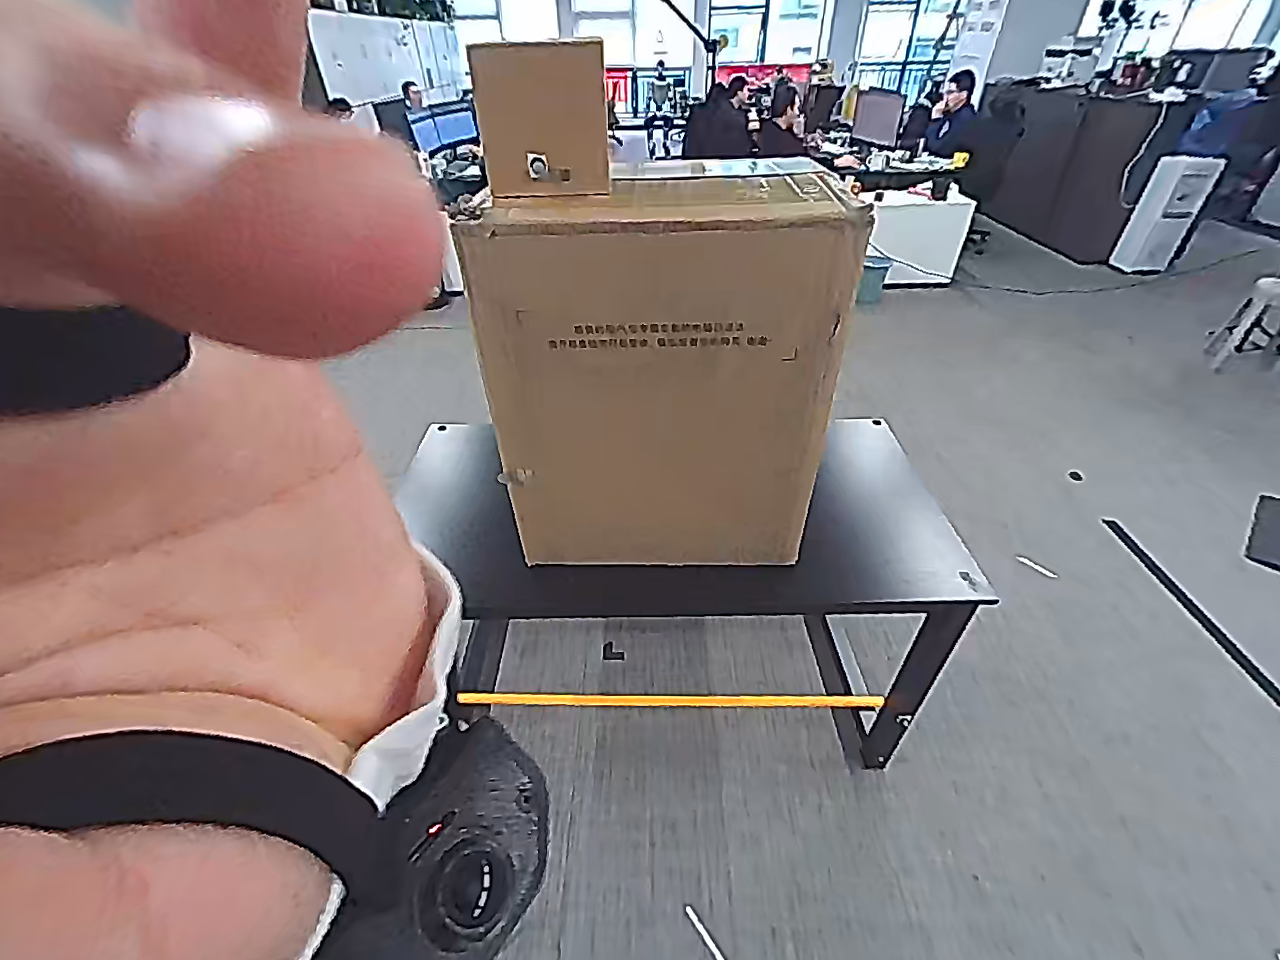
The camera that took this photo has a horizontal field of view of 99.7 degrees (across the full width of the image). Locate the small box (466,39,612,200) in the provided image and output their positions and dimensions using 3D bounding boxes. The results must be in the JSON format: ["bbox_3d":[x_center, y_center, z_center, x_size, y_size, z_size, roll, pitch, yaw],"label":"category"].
[{"bbox_3d":[-0.128,-0.499,0.749,0.168,0.176,0.179,-5,41,-3],"label":"small box"}]
